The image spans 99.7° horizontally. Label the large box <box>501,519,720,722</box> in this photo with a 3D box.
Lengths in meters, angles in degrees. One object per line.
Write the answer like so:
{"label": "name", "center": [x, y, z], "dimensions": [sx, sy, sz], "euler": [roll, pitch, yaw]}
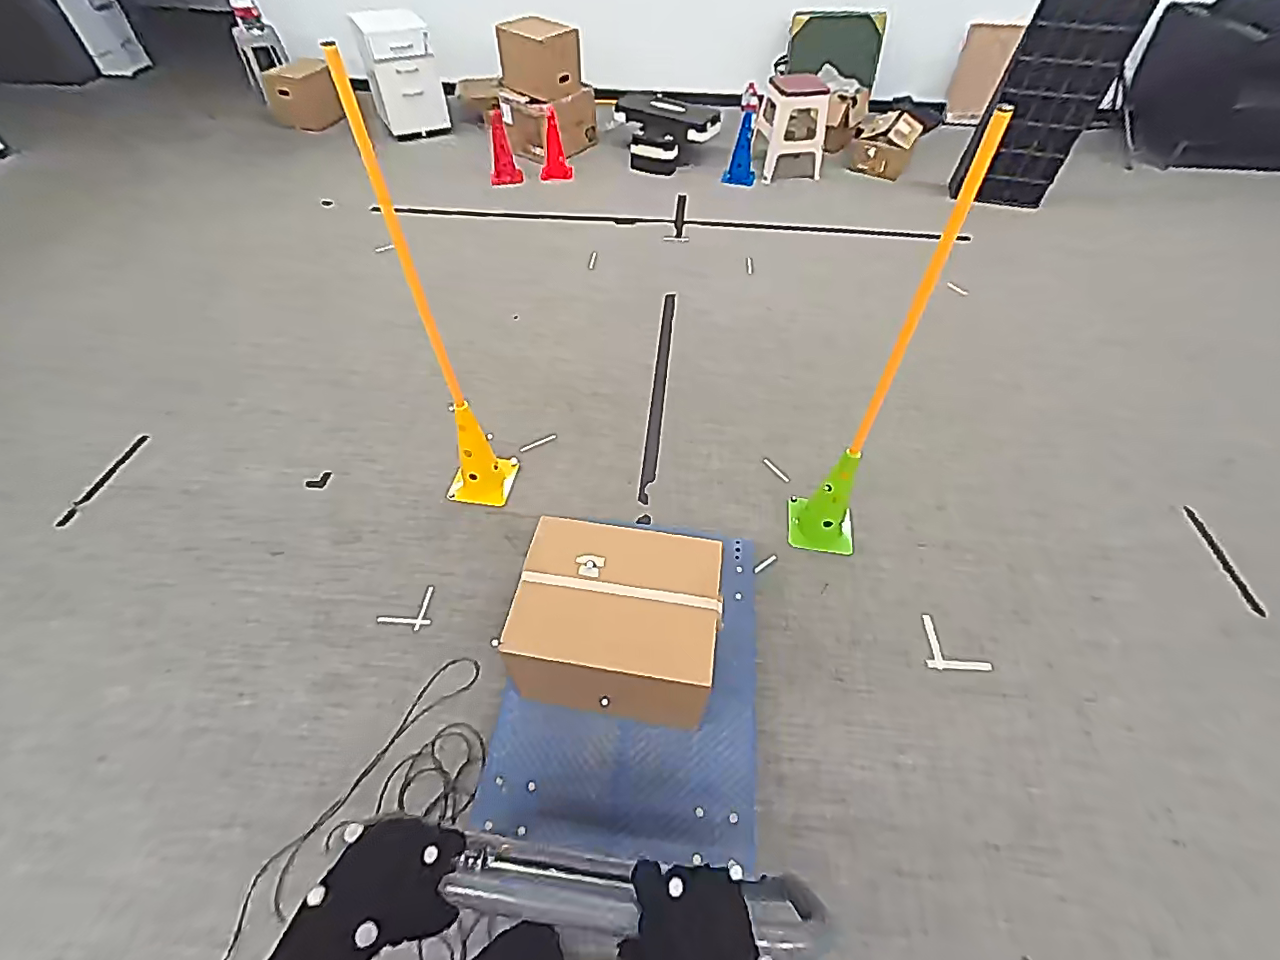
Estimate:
{"label": "large box", "center": [-0.043, 0.318, 1.207], "dimensions": [0.408, 0.320, 0.320], "euler": [8, 52, 6]}

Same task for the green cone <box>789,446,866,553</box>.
{"label": "green cone", "center": [0.595, 0.034, 1.631], "dimensions": [0.202, 0.368, 0.200], "euler": [9, 52, 4]}
